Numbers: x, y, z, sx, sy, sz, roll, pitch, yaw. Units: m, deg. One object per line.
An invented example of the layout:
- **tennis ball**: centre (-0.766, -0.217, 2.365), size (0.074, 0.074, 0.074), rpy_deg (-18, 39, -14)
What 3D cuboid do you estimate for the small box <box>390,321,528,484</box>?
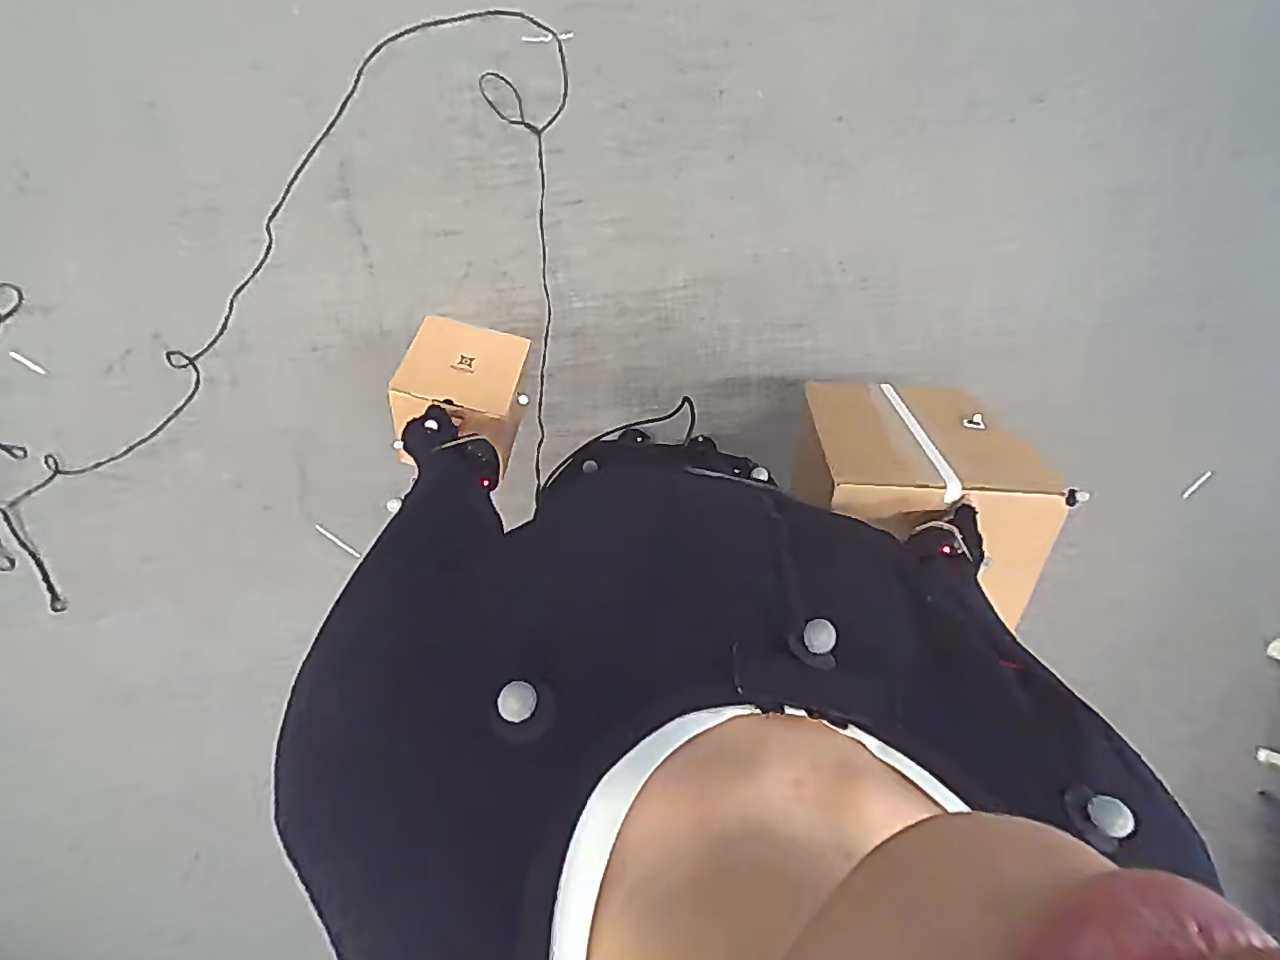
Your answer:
- **small box**: centre (-0.287, -0.122, 0.880), size (0.168, 0.176, 0.179), rpy_deg (12, 52, -9)
